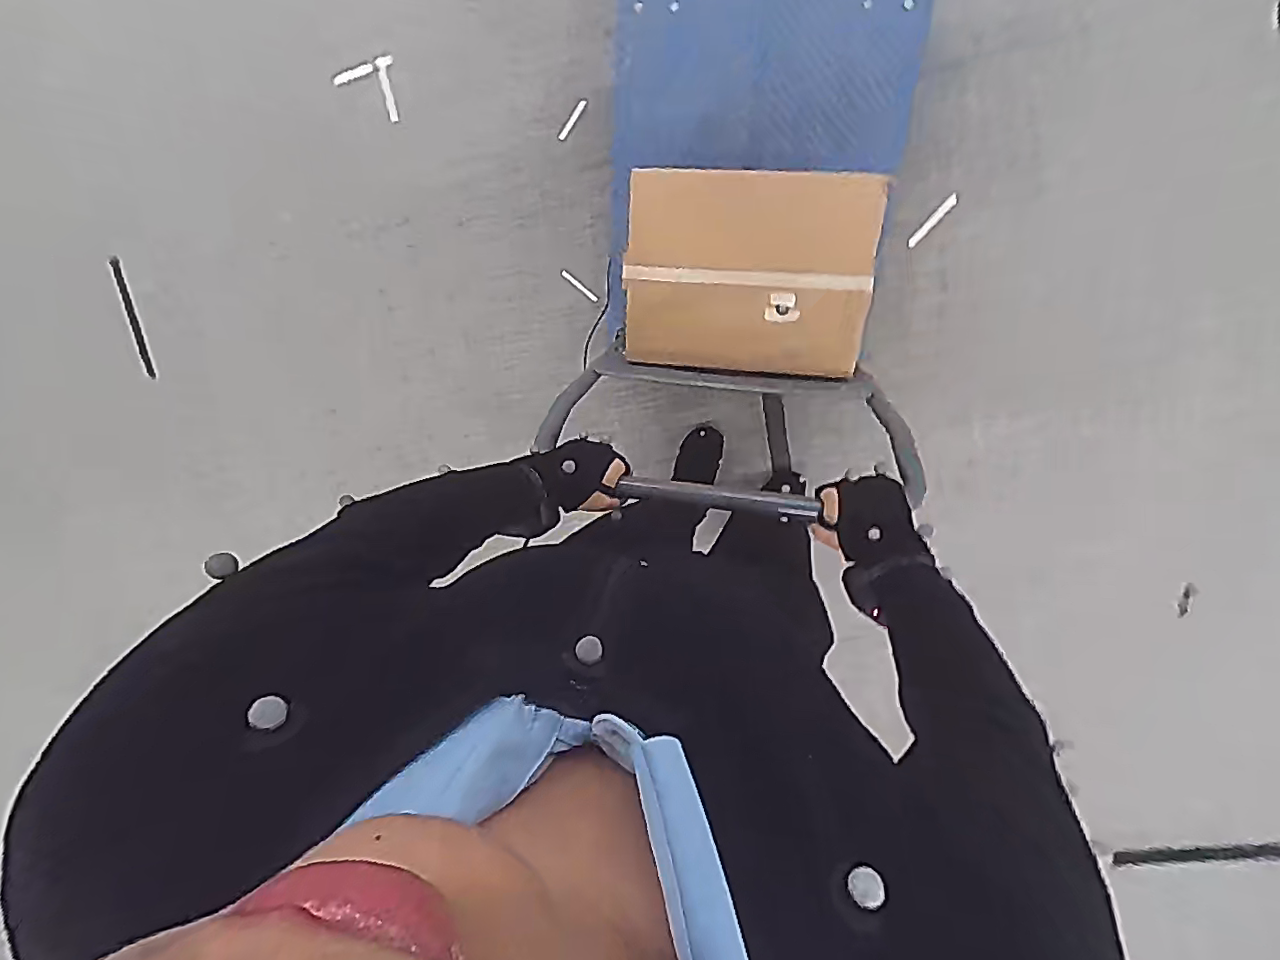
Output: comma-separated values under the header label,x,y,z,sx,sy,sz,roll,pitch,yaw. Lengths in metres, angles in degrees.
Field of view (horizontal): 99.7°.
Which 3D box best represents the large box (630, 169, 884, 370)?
label,x,y,z,sx,sy,sz,roll,pitch,yaw
large box,0.202,-0.405,1.056,0.408,0.320,0.320,5,113,8
